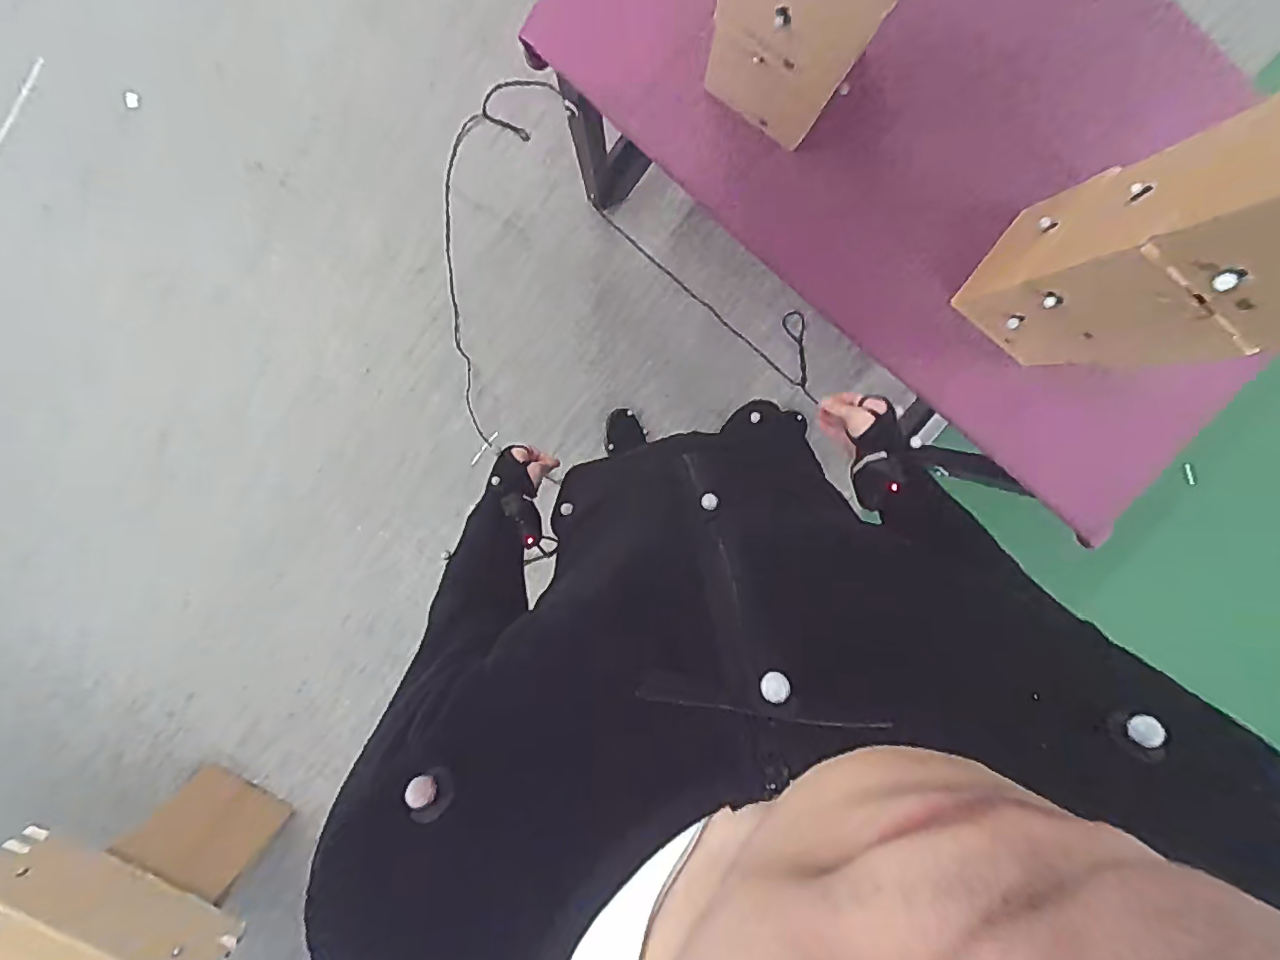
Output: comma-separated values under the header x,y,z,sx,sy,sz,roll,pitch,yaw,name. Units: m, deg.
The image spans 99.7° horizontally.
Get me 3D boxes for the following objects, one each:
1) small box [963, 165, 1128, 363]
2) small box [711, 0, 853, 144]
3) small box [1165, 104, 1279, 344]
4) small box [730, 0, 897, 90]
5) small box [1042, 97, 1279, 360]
x,y,z,sx,sy,sz,roll,pitch,yaw,name
0.596,-0.281,0.754,0.168,0.176,0.179,37,96,-6,small box
0.209,-0.589,0.696,0.168,0.176,0.179,33,97,-6,small box
0.601,-0.232,0.430,0.168,0.176,0.179,40,96,-6,small box
0.202,-0.547,0.536,0.168,0.176,0.179,34,98,-7,small box
0.596,-0.249,0.593,0.168,0.176,0.179,39,95,-6,small box
